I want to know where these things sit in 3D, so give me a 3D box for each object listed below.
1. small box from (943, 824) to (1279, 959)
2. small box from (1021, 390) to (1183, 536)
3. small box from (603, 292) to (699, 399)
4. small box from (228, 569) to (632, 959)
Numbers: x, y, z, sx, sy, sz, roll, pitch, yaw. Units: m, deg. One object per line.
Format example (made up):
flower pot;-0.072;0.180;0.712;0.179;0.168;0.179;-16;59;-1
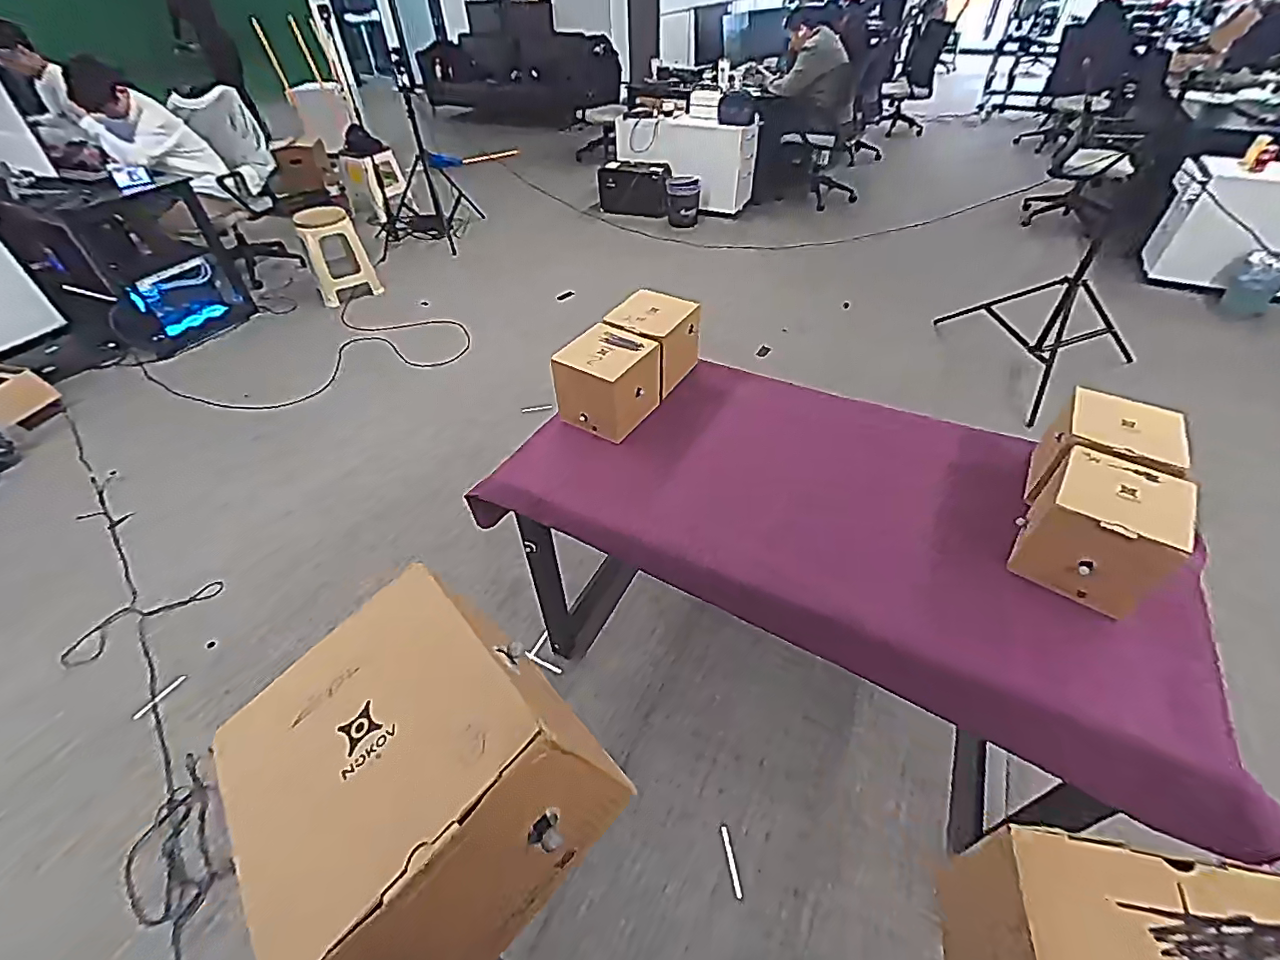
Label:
small box;0.286;0.323;0.297;0.168;0.176;0.179;3;48;14
small box;0.835;-0.032;0.993;0.168;0.176;0.179;23;49;23
small box;0.027;-0.328;1.315;0.168;0.176;0.179;23;50;23
small box;-0.132;0.202;0.378;0.168;0.176;0.179;-42;48;-17
